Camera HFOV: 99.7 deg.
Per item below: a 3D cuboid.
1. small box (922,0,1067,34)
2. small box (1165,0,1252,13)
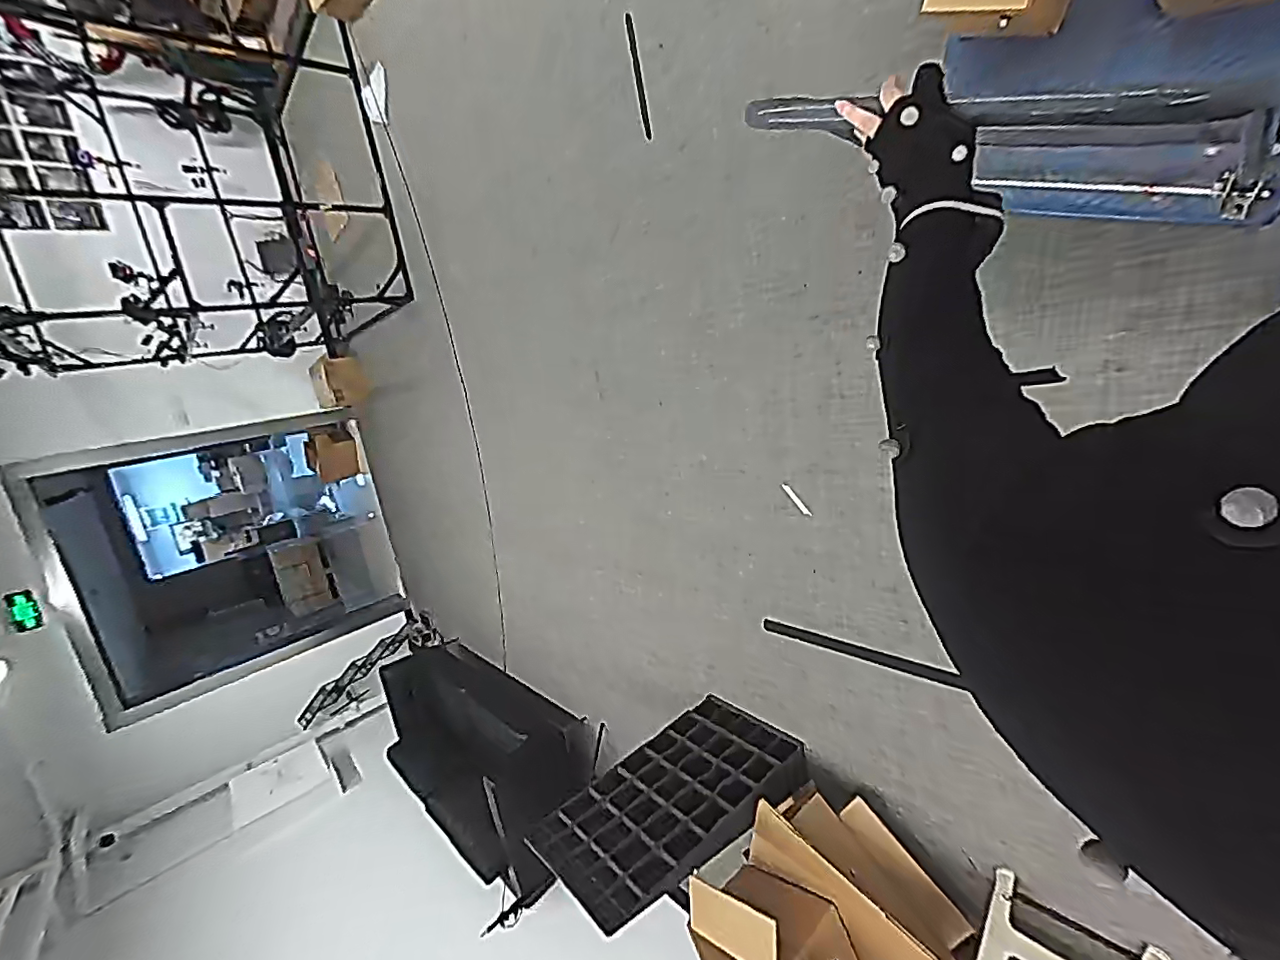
[{"bbox_3d":[0.616,-0.866,0.898,0.179,0.176,0.168,34,129,35],"label":"small box"},{"bbox_3d":[0.821,-0.747,0.703,0.179,0.176,0.168,26,124,41],"label":"small box"}]
